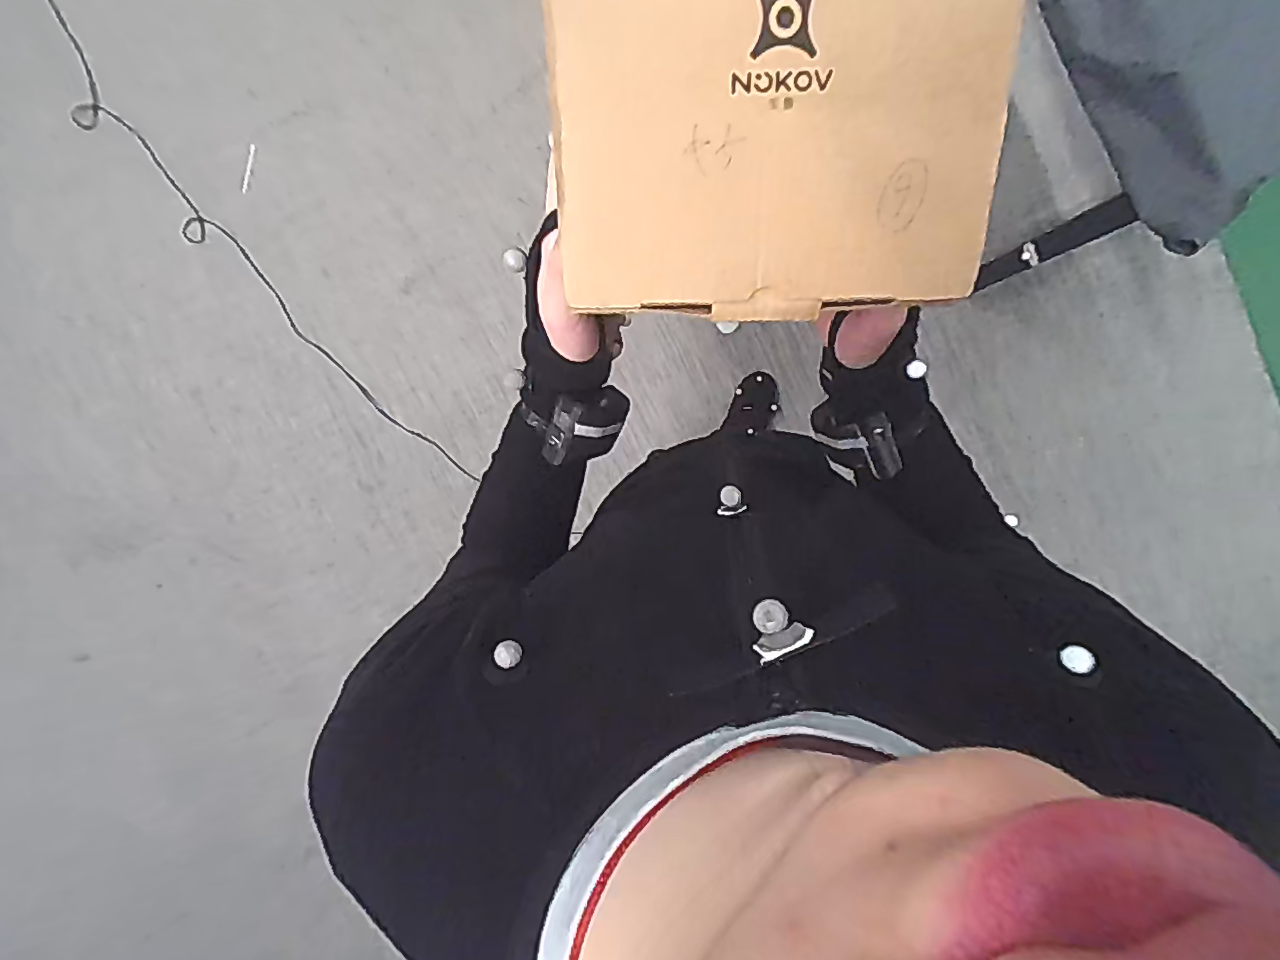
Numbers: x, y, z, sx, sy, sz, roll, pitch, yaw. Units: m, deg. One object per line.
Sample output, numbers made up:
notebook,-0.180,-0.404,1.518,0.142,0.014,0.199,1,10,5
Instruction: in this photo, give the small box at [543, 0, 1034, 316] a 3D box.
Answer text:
small box,0.047,-0.178,0.257,0.168,0.176,0.179,-2,112,-2
